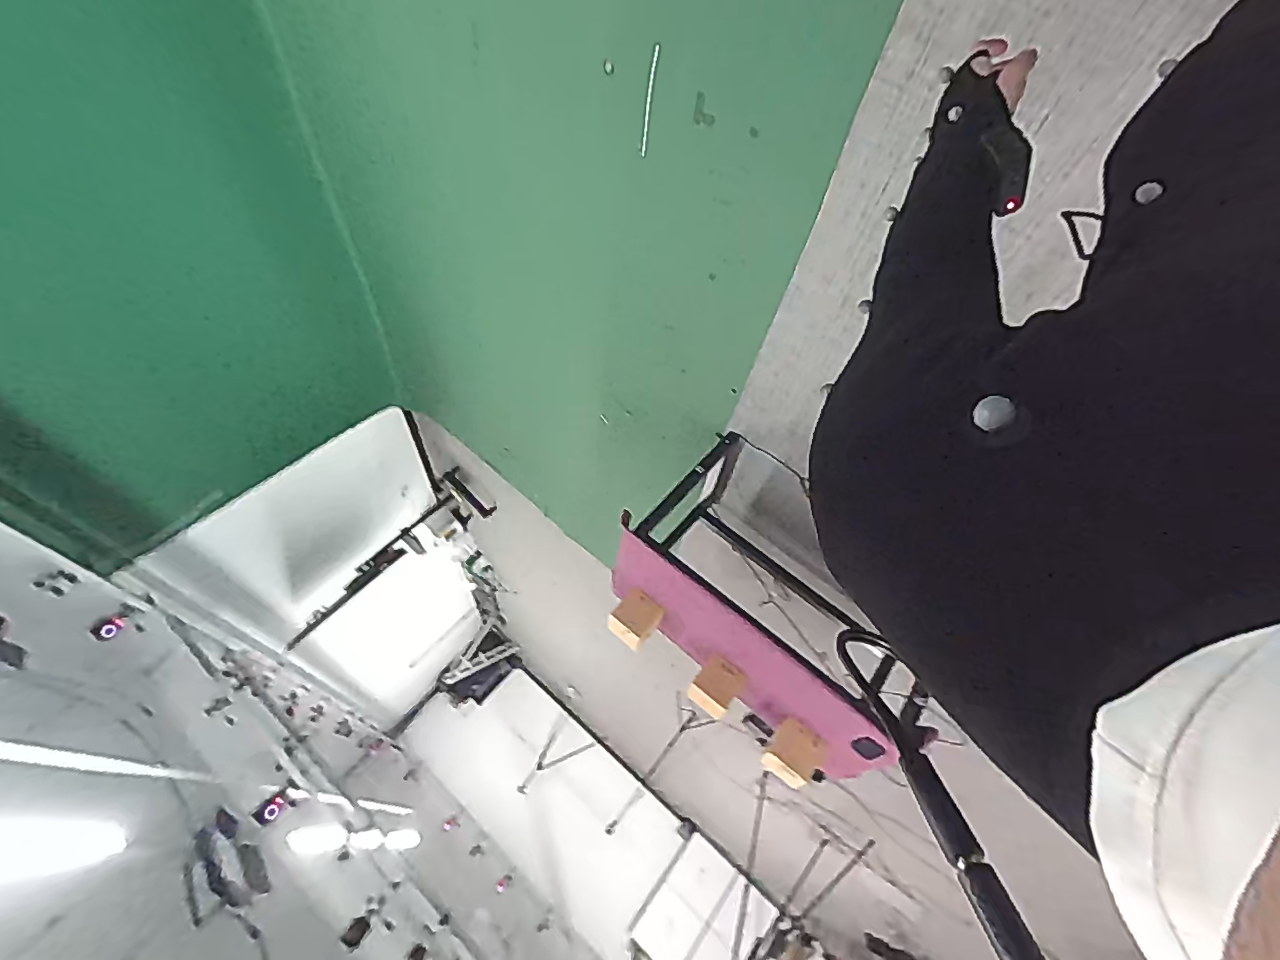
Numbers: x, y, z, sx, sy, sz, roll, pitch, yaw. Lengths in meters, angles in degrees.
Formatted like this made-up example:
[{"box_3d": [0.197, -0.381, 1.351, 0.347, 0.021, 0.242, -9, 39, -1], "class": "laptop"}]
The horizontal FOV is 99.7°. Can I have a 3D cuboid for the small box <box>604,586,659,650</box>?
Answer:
[{"box_3d": [-0.037, 0.593, 2.331, 0.168, 0.176, 0.179, 36, 149, 17], "class": "small box"}]

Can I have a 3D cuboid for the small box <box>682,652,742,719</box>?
[{"box_3d": [0.293, 0.835, 2.202, 0.168, 0.176, 0.179, 35, 148, 19], "class": "small box"}]

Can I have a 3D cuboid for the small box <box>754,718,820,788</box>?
[{"box_3d": [0.573, 1.057, 2.102, 0.168, 0.176, 0.179, 36, 149, 20], "class": "small box"}]
